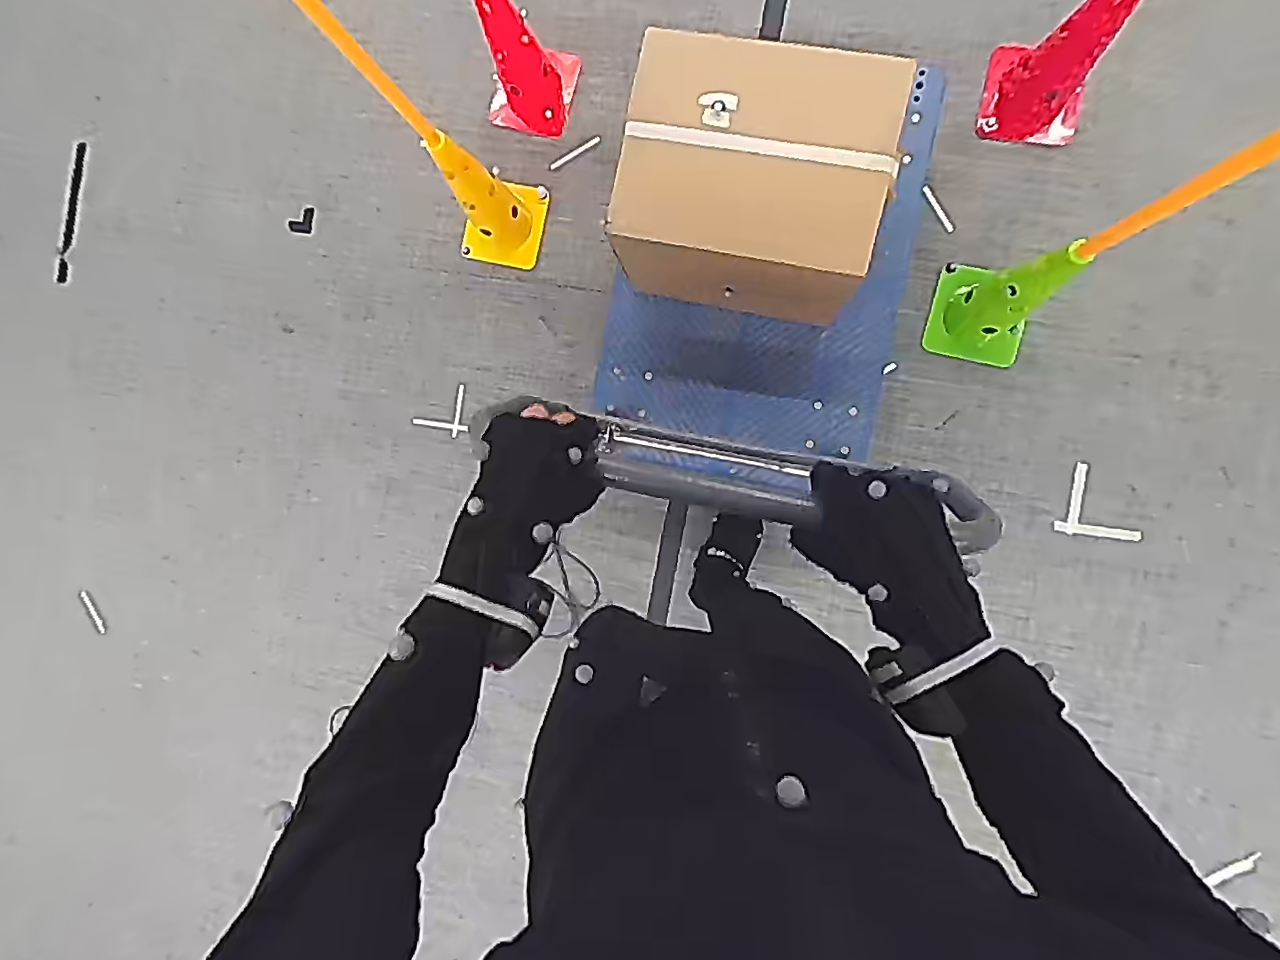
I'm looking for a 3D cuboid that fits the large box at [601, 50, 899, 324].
[{"bbox_3d":[0.183,-0.490,0.970,0.408,0.320,0.320,13,94,9],"label":"large box"}]

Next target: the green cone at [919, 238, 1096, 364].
[{"bbox_3d":[0.723,-0.368,1.039,0.202,0.368,0.200,14,93,6],"label":"green cone"}]

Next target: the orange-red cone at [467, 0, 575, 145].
[{"bbox_3d":[-0.296,-0.947,1.174,0.198,0.360,0.199,17,93,6],"label":"orange-red cone"}]

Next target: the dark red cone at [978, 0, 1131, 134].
[{"bbox_3d":[0.819,-0.842,0.994,0.201,0.394,0.202,10,93,6],"label":"dark red cone"}]
